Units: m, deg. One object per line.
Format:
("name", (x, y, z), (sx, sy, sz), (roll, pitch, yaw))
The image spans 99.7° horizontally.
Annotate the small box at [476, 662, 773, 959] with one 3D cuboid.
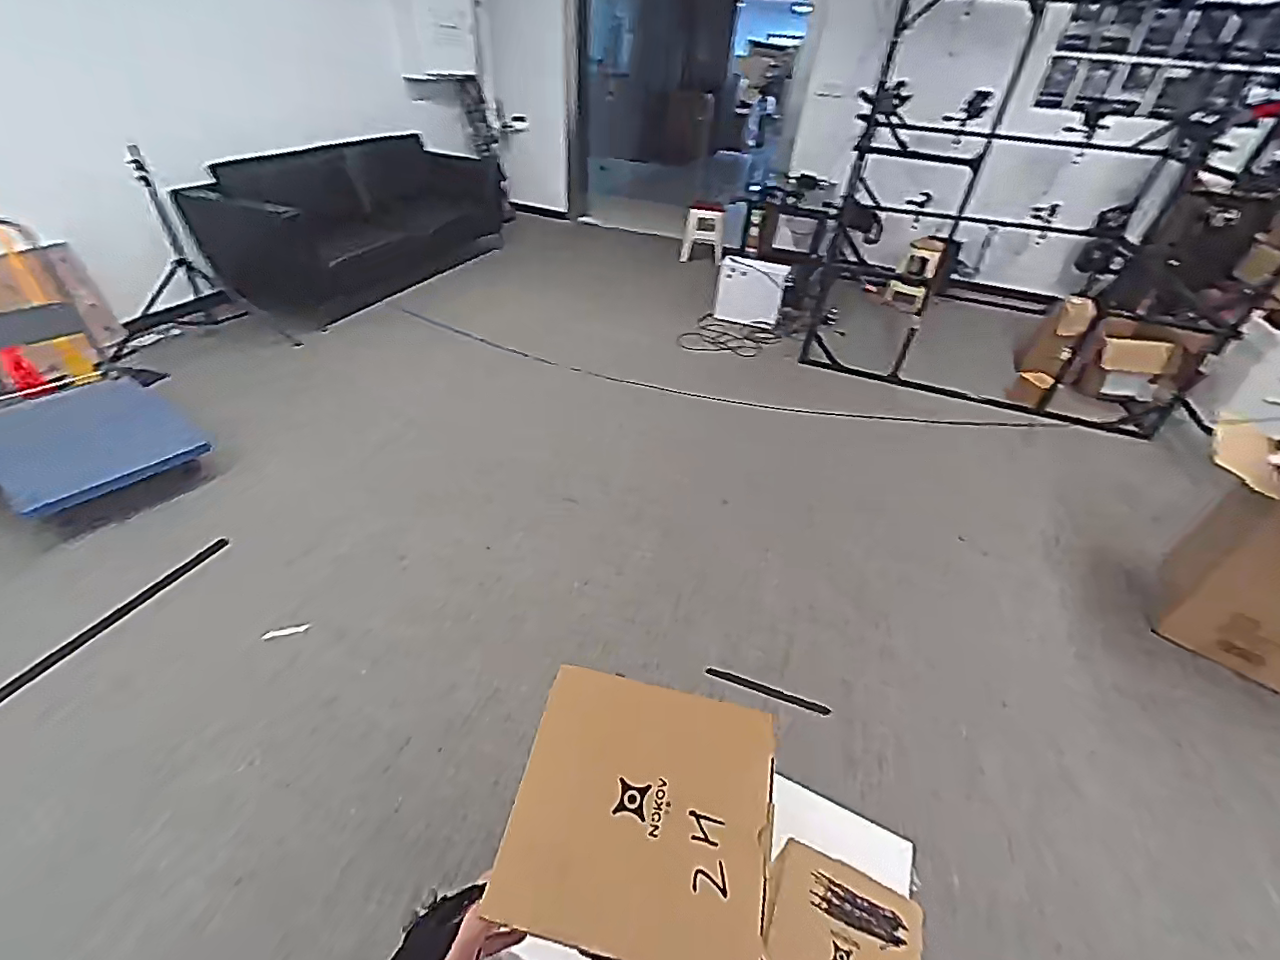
("small box", (-0.004, 0.274, 0.434), (0.179, 0.176, 0.168), (12, 50, 7))
